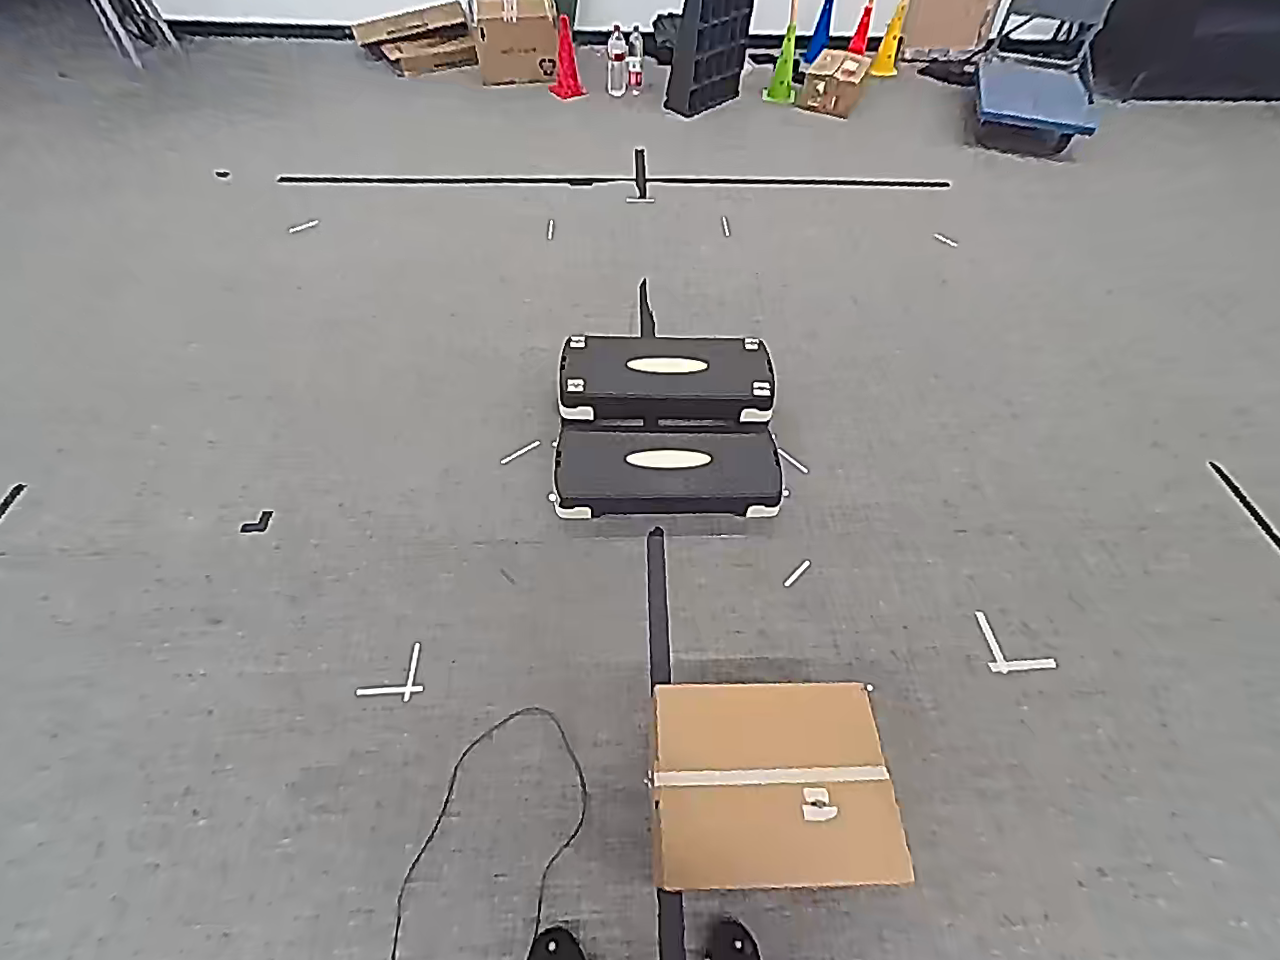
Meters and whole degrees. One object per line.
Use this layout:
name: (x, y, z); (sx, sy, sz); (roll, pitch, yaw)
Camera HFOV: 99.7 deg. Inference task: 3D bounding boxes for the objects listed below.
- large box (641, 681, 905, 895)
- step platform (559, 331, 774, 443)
large box: (0.213, 0.599, 1.055); (0.408, 0.320, 0.320); (0, 55, -3)
step platform: (0.084, -0.305, 1.751); (0.684, 0.204, 0.286); (4, 55, 0)
